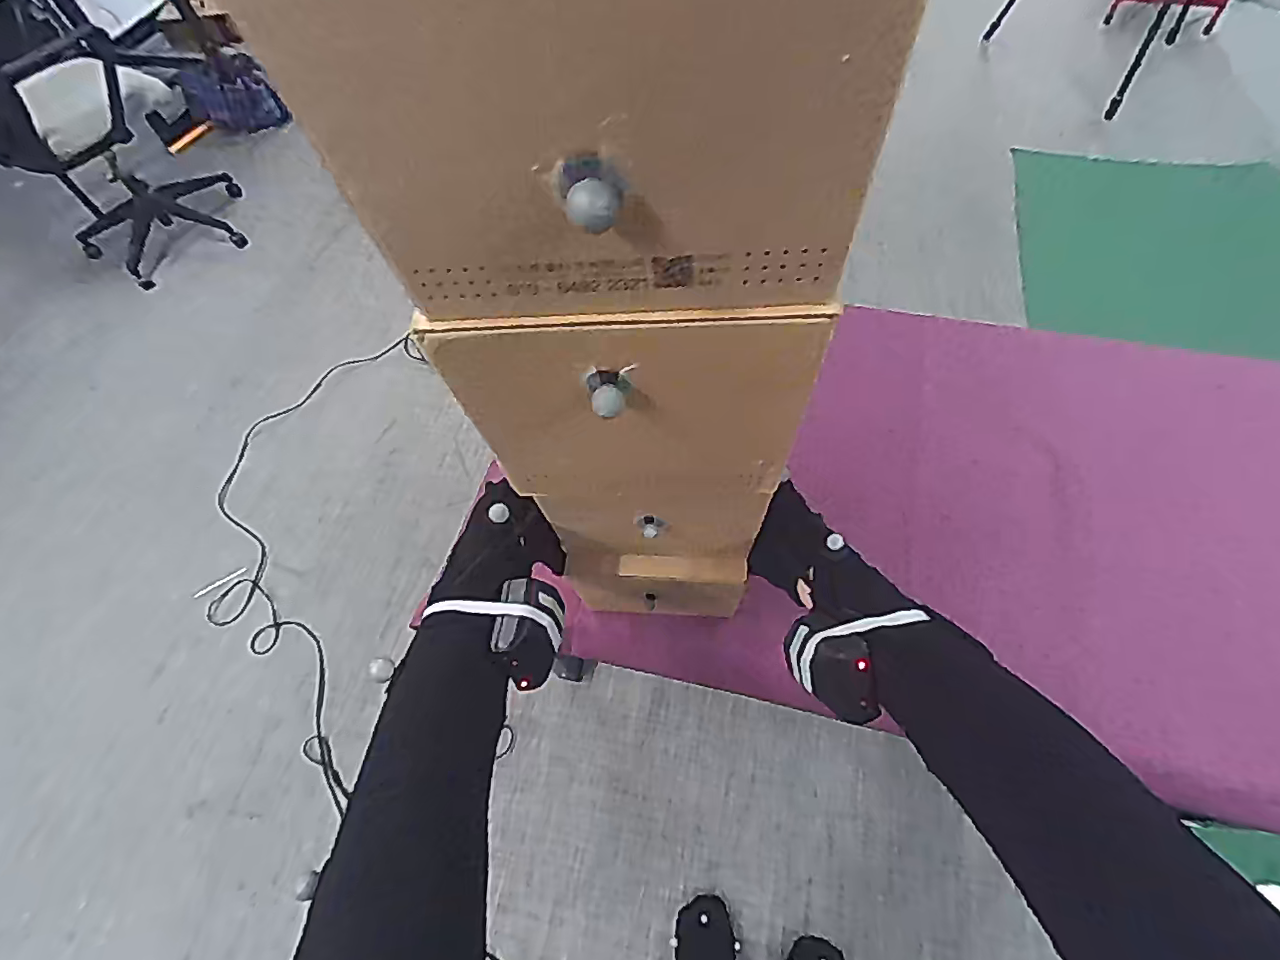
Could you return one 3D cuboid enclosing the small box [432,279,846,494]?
[{"bbox_3d":[0.006,-0.098,0.328,0.179,0.176,0.168,0,65,5],"label":"small box"}]

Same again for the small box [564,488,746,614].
[{"bbox_3d":[0.023,0.053,0.618,0.179,0.176,0.168,2,65,5],"label":"small box"}]

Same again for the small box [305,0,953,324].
[{"bbox_3d":[-0.003,-0.178,0.183,0.168,0.176,0.179,1,65,5],"label":"small box"}]
